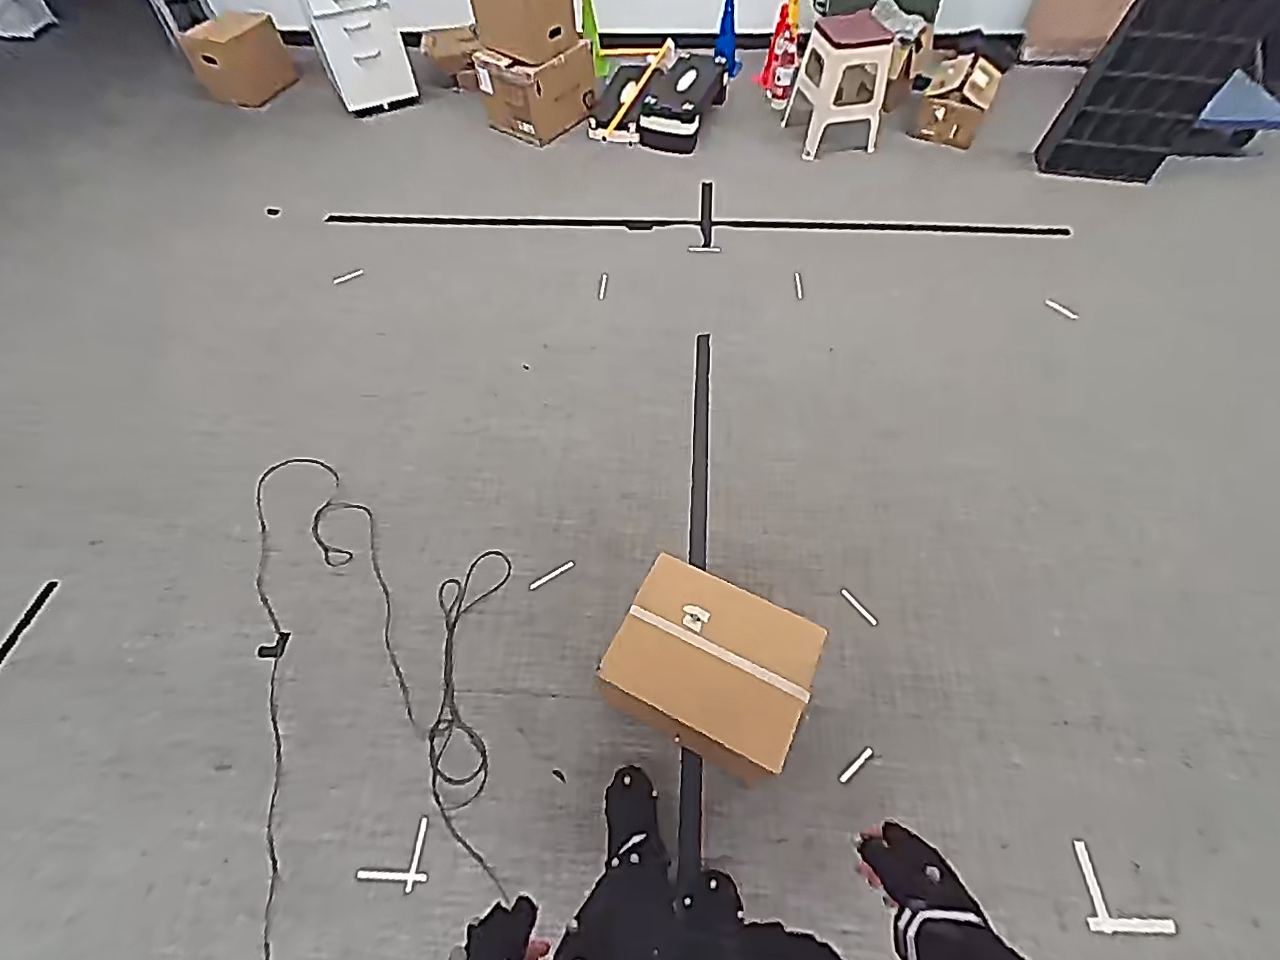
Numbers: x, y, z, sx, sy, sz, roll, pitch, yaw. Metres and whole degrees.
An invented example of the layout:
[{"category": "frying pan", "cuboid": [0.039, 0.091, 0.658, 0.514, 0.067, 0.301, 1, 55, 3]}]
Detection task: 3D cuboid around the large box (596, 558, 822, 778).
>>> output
[{"category": "large box", "cuboid": [0.157, 0.446, 1.272, 0.408, 0.320, 0.320, 23, 60, 15]}]
